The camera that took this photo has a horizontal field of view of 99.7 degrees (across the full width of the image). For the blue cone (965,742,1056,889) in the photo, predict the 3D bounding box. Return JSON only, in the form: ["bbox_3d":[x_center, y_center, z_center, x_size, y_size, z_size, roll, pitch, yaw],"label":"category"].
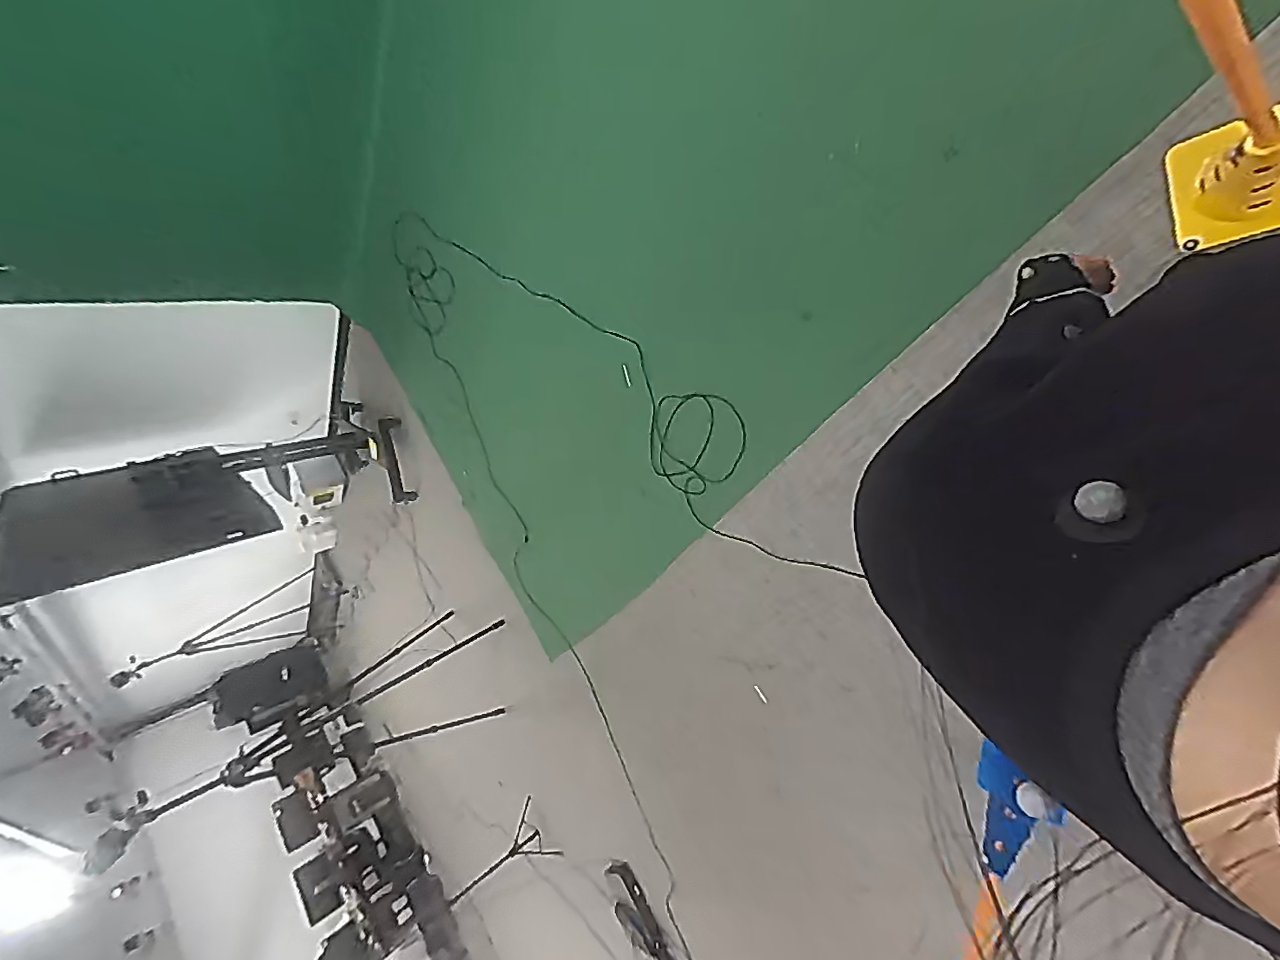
[{"bbox_3d":[0.891,0.863,1.349,0.192,0.380,0.193,12,114,41],"label":"blue cone"}]
